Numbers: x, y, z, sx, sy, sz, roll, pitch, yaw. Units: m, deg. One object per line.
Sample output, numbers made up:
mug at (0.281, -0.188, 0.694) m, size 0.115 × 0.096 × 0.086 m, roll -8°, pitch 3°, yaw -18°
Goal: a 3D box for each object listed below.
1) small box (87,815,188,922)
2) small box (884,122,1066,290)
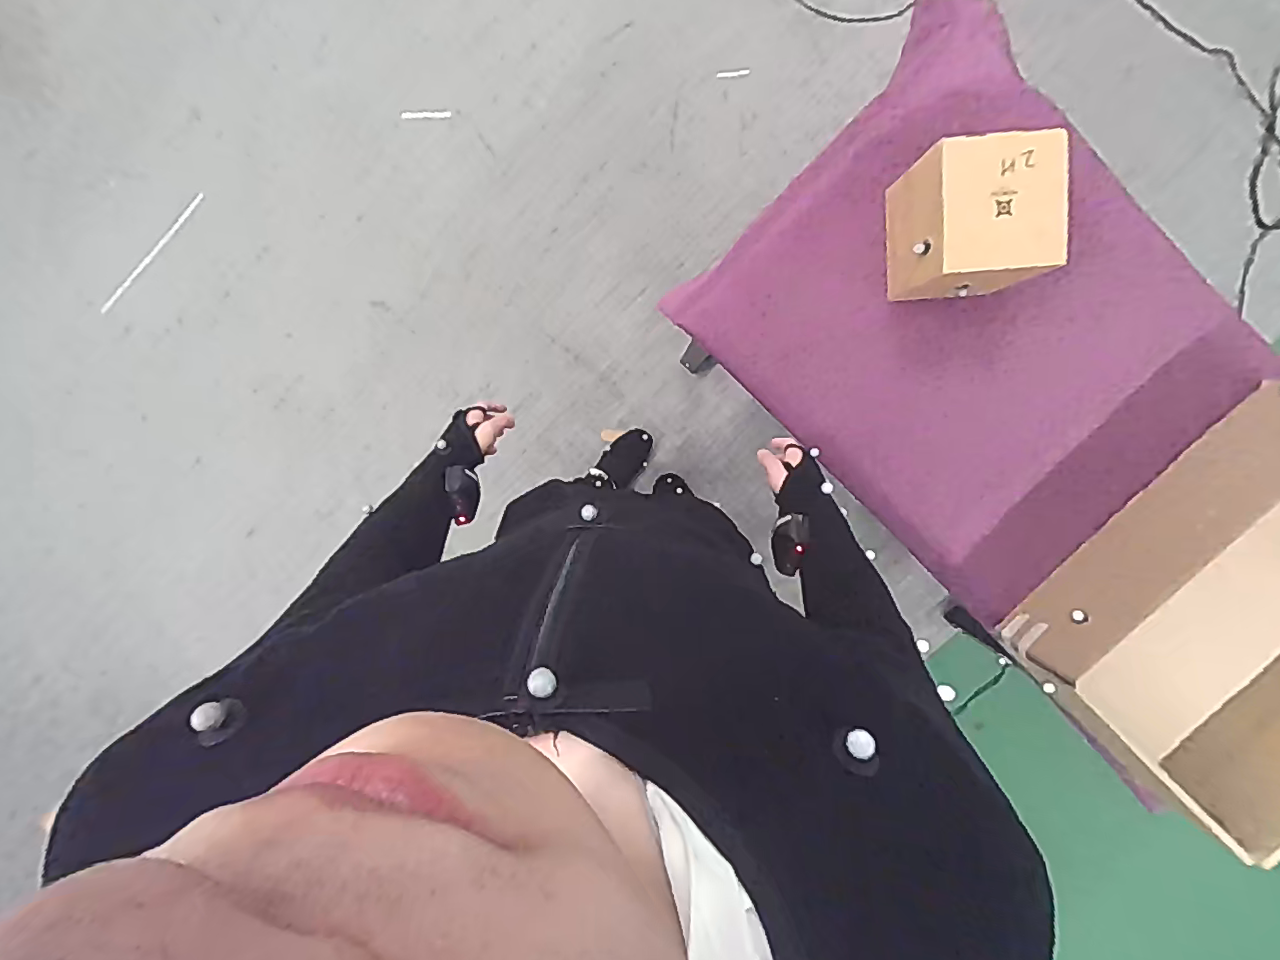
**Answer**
small box at (-1.296, 0.996, 1.358) m, size 0.179 × 0.176 × 0.168 m, roll -38°, pitch 94°, yaw 3°
small box at (0.474, -0.384, 0.791) m, size 0.168 × 0.176 × 0.179 m, roll -4°, pitch 97°, yaw 0°
